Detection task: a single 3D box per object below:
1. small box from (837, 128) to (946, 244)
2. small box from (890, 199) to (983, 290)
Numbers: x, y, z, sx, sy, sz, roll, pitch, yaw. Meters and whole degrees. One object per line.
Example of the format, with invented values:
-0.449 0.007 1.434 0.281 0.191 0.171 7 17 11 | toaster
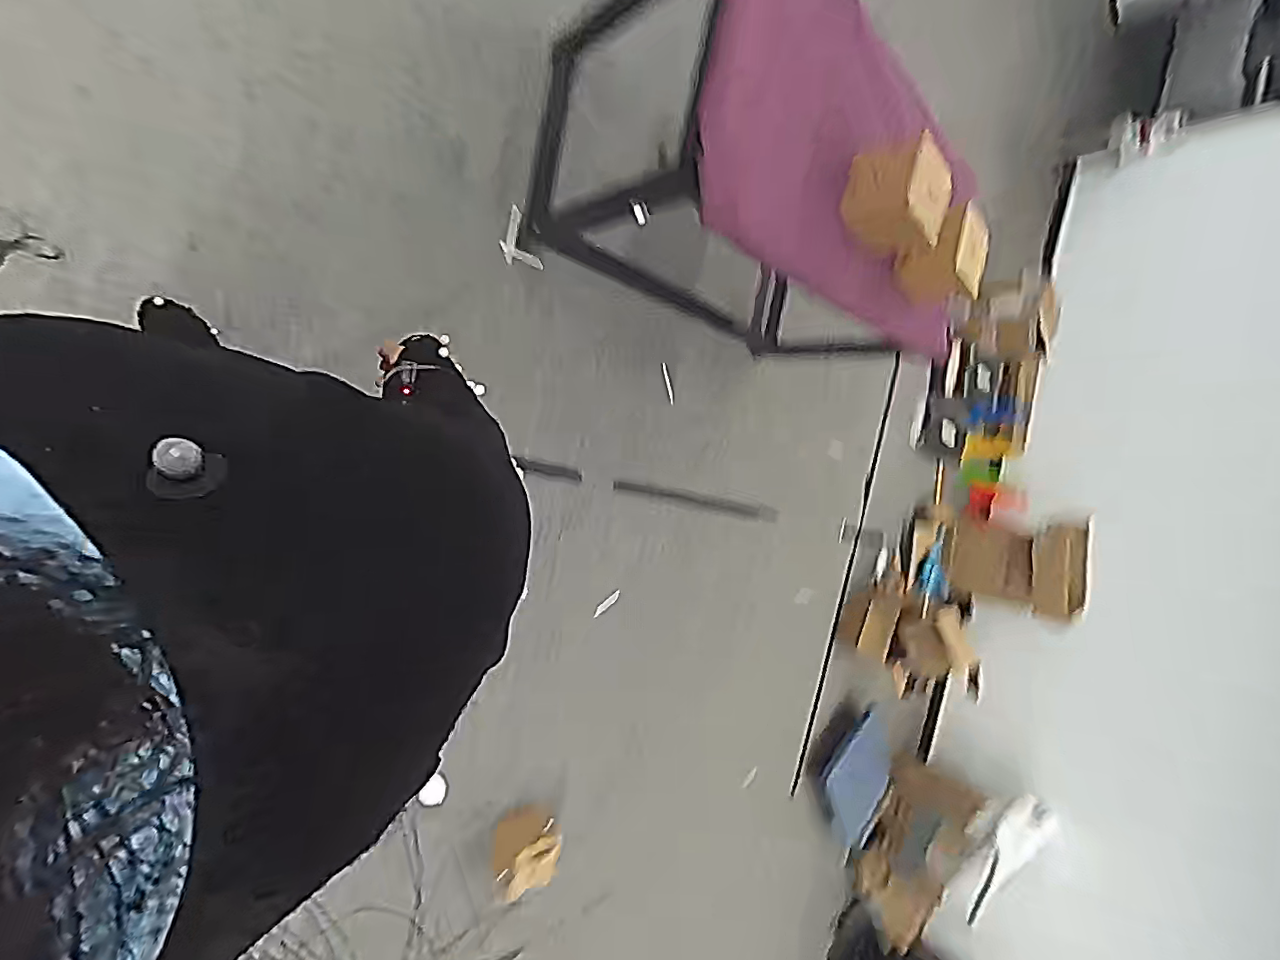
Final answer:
0.607 -0.698 1.311 0.179 0.176 0.168 20 87 -42 | small box
0.824 -0.645 1.510 0.179 0.176 0.168 15 89 -42 | small box
